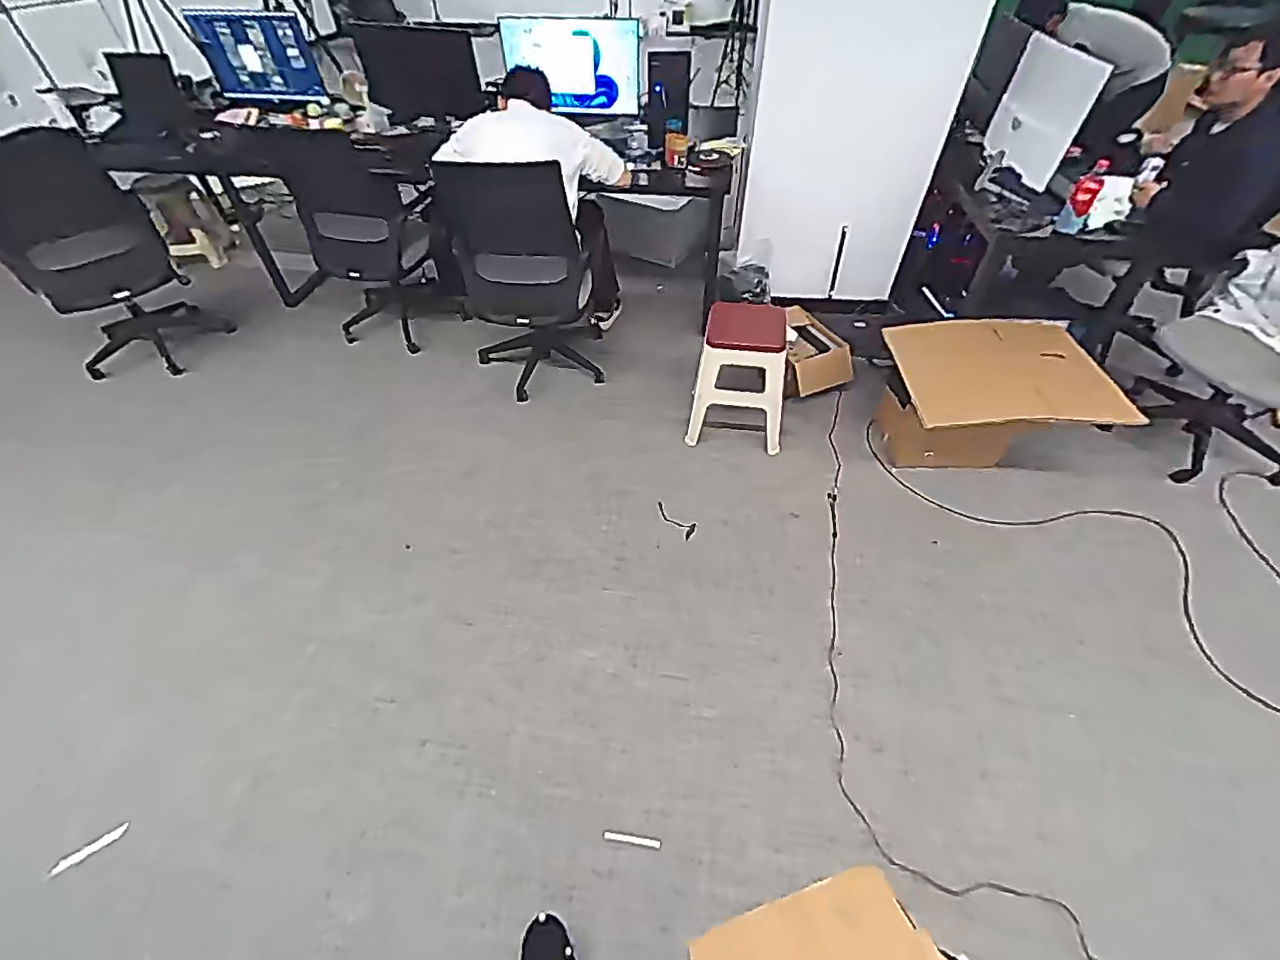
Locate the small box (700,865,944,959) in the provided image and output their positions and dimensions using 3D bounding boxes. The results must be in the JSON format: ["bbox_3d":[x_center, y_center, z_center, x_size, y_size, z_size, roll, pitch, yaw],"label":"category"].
[{"bbox_3d":[0.162,0.448,0.401,0.179,0.176,0.168,-19,7,-1],"label":"small box"}]
